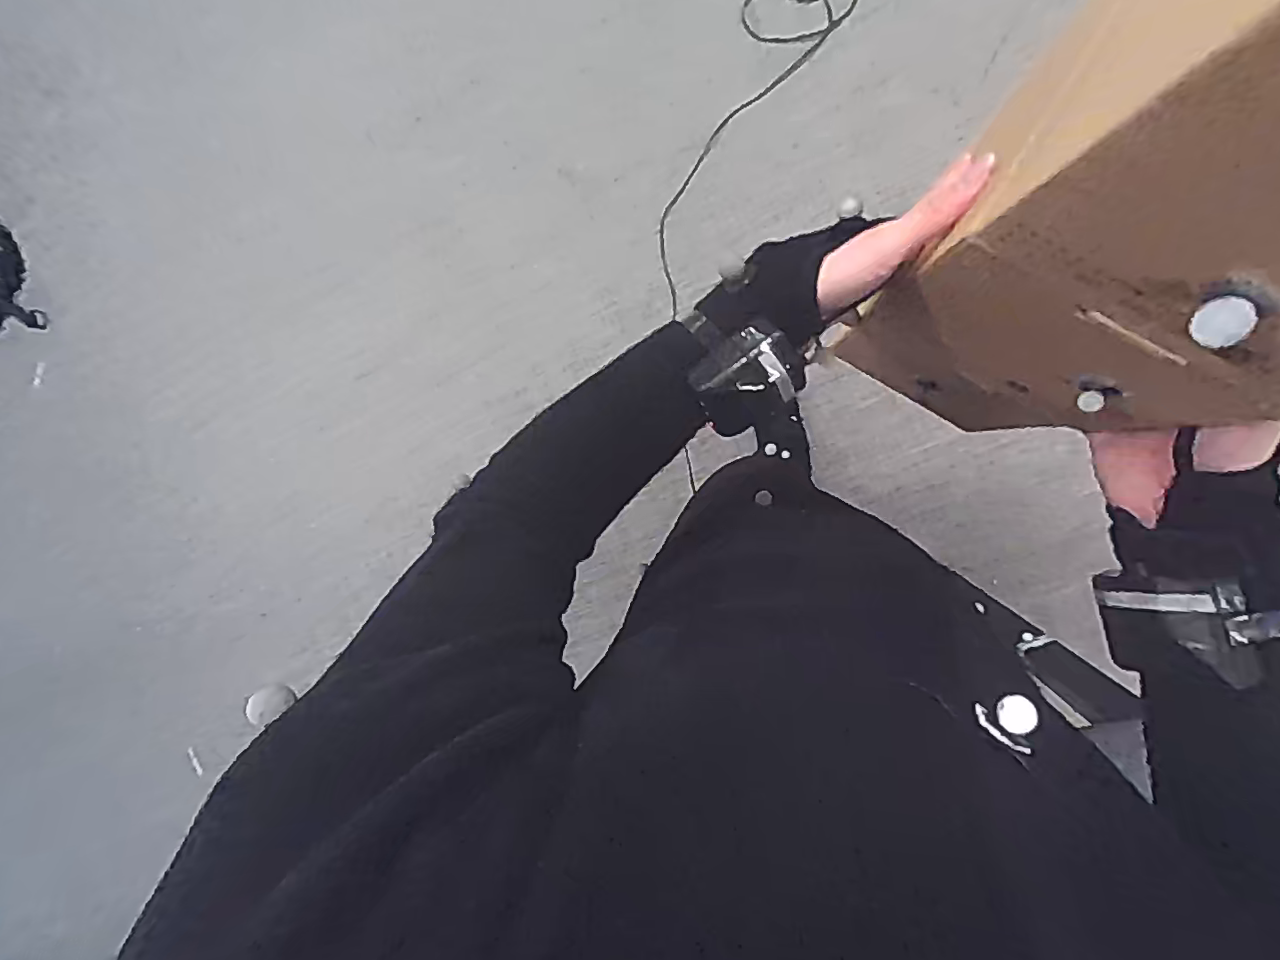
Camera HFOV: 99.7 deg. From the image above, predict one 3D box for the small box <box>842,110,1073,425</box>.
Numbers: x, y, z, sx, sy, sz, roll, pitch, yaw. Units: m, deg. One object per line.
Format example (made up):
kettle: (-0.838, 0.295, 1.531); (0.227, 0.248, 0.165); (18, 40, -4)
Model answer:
small box: (0.291, -0.157, 0.451); (0.168, 0.176, 0.179); (32, 98, 6)

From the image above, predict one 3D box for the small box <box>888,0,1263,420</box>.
small box: (0.262, -0.144, 0.291); (0.168, 0.176, 0.179); (30, 97, 5)

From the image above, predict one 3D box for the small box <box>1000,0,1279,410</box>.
small box: (0.238, -0.127, 0.129); (0.168, 0.176, 0.179); (32, 99, 5)
